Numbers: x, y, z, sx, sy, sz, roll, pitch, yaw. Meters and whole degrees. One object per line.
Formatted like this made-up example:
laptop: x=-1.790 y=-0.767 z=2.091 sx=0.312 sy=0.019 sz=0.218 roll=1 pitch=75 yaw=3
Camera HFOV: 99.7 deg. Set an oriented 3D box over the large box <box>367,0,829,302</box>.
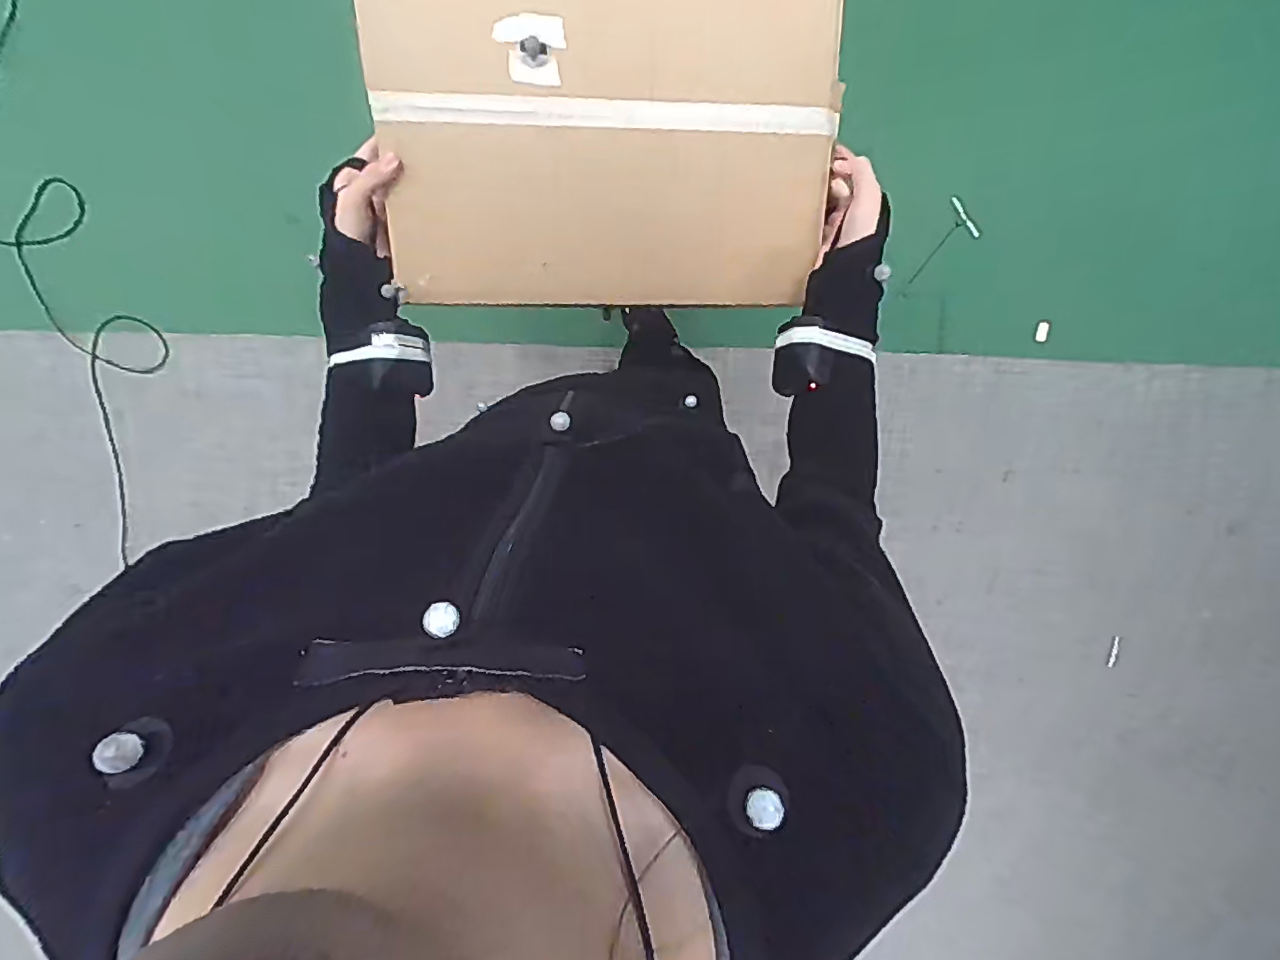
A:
large box: x=-0.043 y=-0.375 z=0.629 sx=0.408 sy=0.320 sz=0.320 roll=-1 pitch=108 yaw=-6
